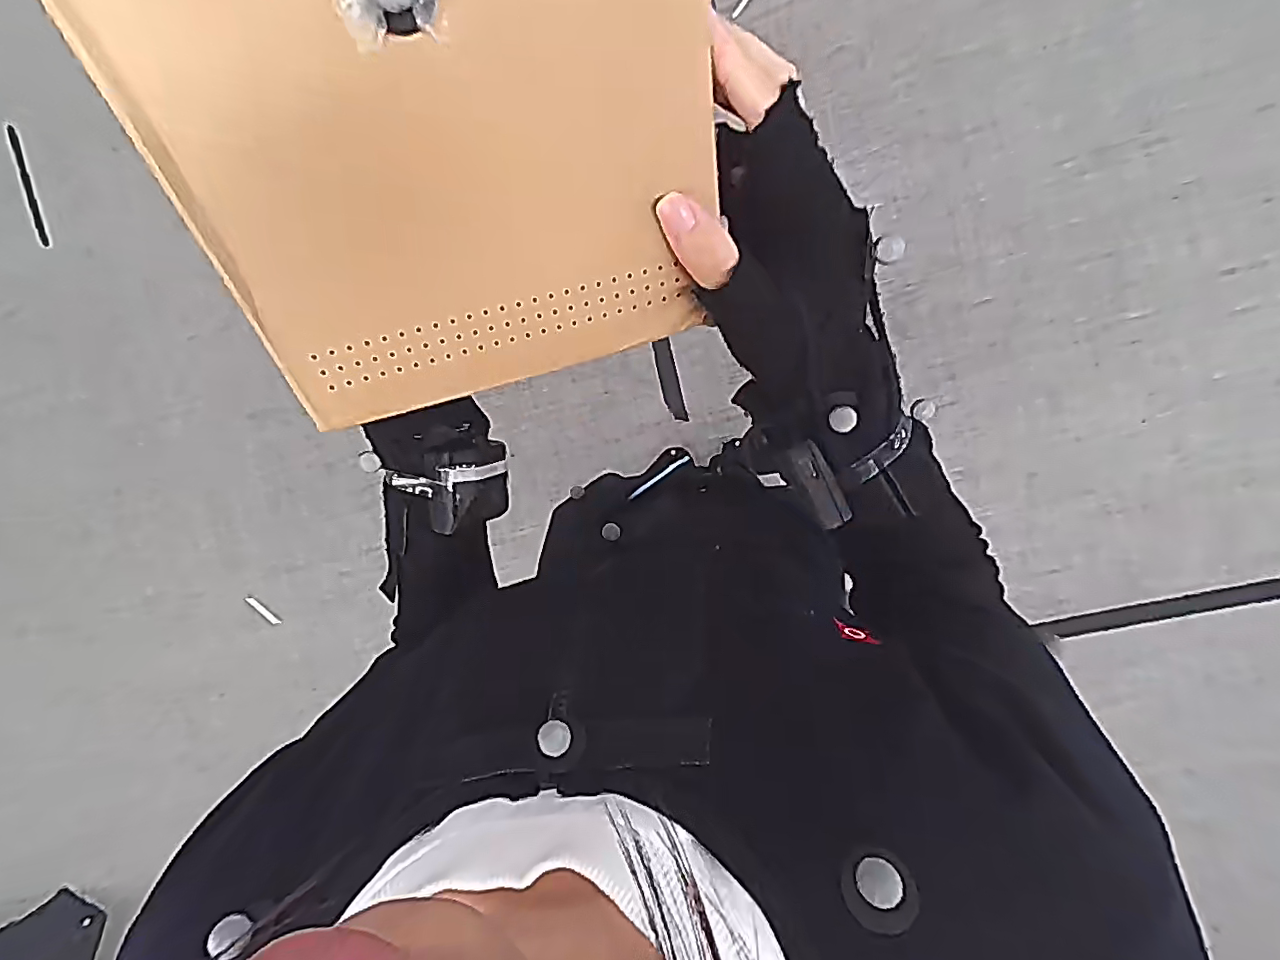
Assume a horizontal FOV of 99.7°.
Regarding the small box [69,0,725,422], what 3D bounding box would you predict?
[{"bbox_3d":[-0.076,-0.150,0.240,0.179,0.168,0.176,-19,132,-5],"label":"small box"}]
